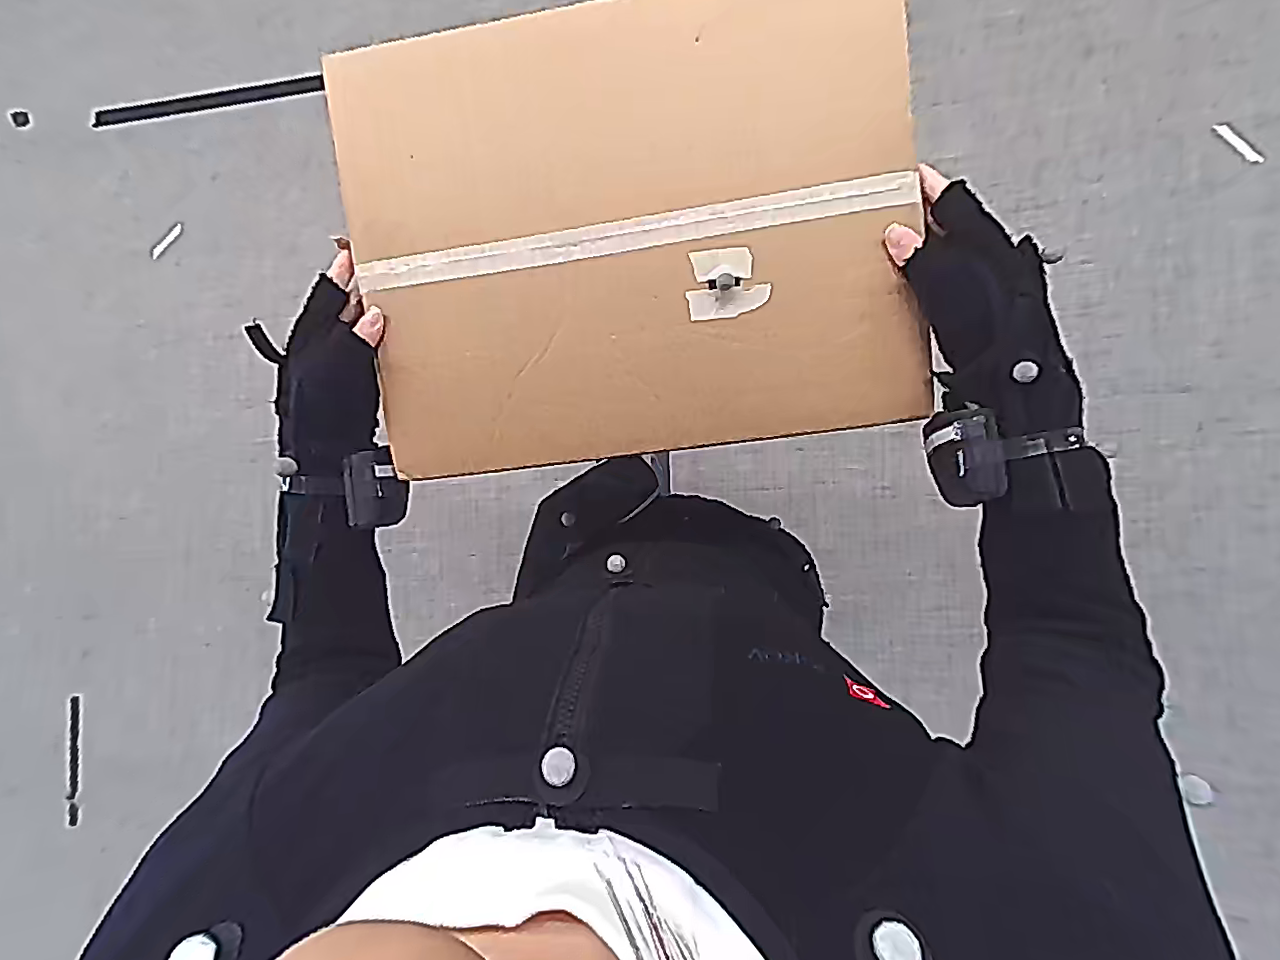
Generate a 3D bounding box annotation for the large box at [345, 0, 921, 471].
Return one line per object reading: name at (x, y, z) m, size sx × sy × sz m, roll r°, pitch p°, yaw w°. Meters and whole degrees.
large box at (0.002, -0.200, 0.550) m, size 0.408 × 0.320 × 0.320 m, roll -7°, pitch 97°, yaw 5°
